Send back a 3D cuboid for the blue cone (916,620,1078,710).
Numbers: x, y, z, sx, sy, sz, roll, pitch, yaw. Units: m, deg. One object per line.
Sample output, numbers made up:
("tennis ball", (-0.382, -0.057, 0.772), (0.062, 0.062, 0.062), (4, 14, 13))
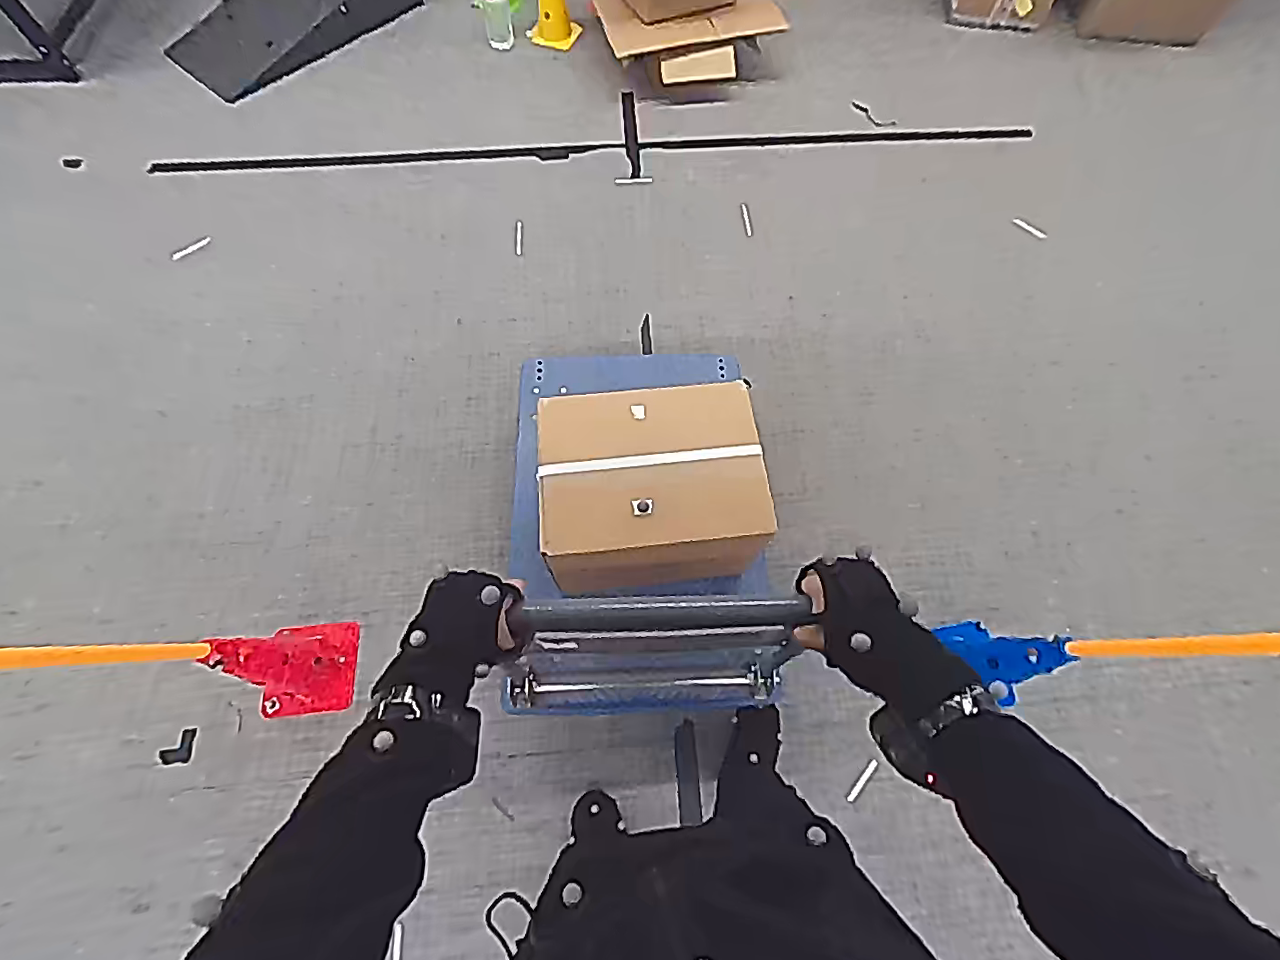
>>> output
("blue cone", (0.783, 0.373, 1.151), (0.193, 0.380, 0.192), (-7, 65, -5))
